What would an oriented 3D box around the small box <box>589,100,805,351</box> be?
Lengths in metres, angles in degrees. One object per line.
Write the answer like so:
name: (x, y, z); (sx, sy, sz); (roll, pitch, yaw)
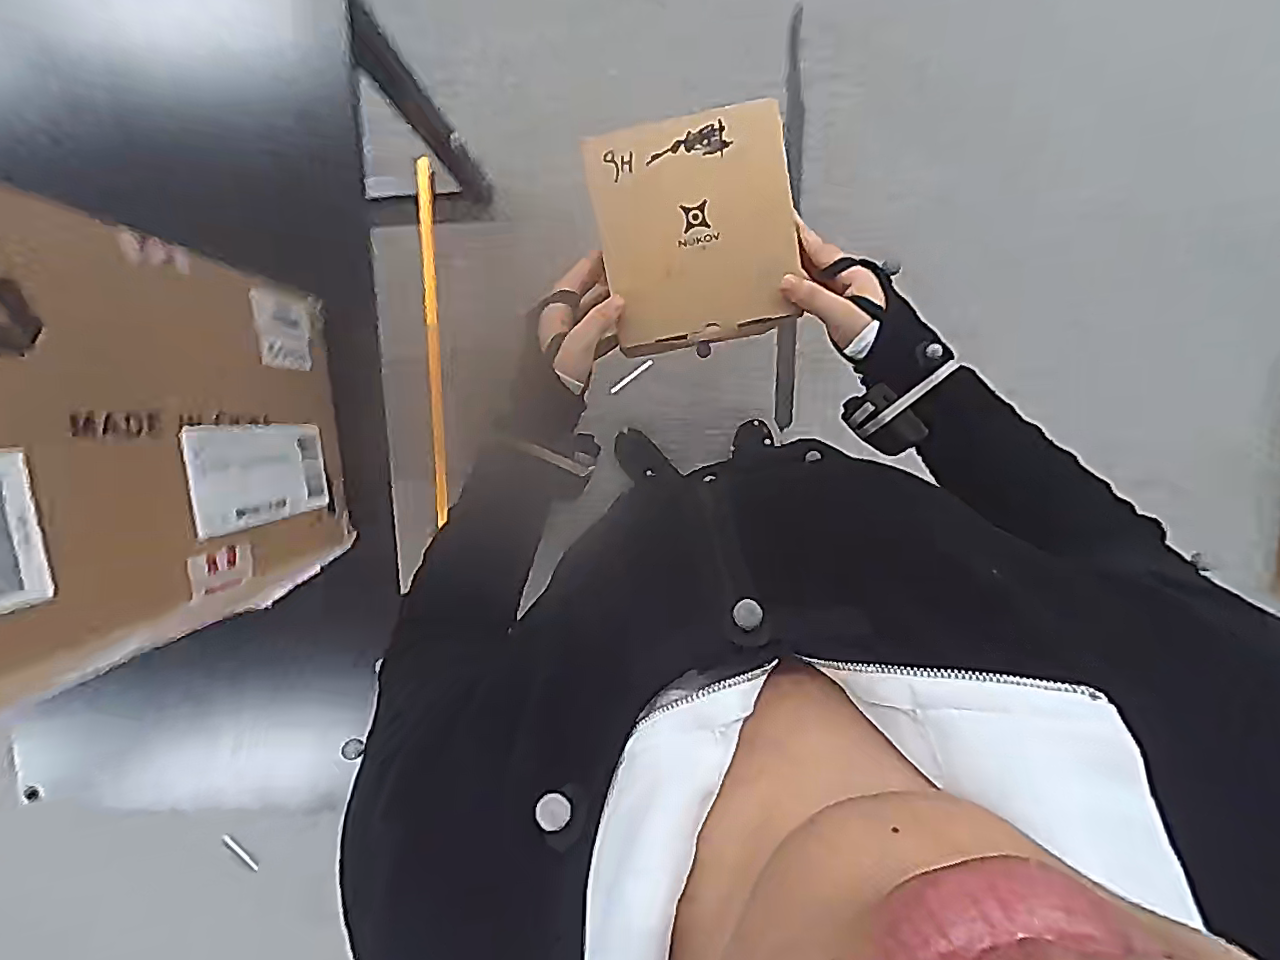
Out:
small box: (0.053, -0.227, 0.534); (0.168, 0.176, 0.179); (-9, 101, 3)
